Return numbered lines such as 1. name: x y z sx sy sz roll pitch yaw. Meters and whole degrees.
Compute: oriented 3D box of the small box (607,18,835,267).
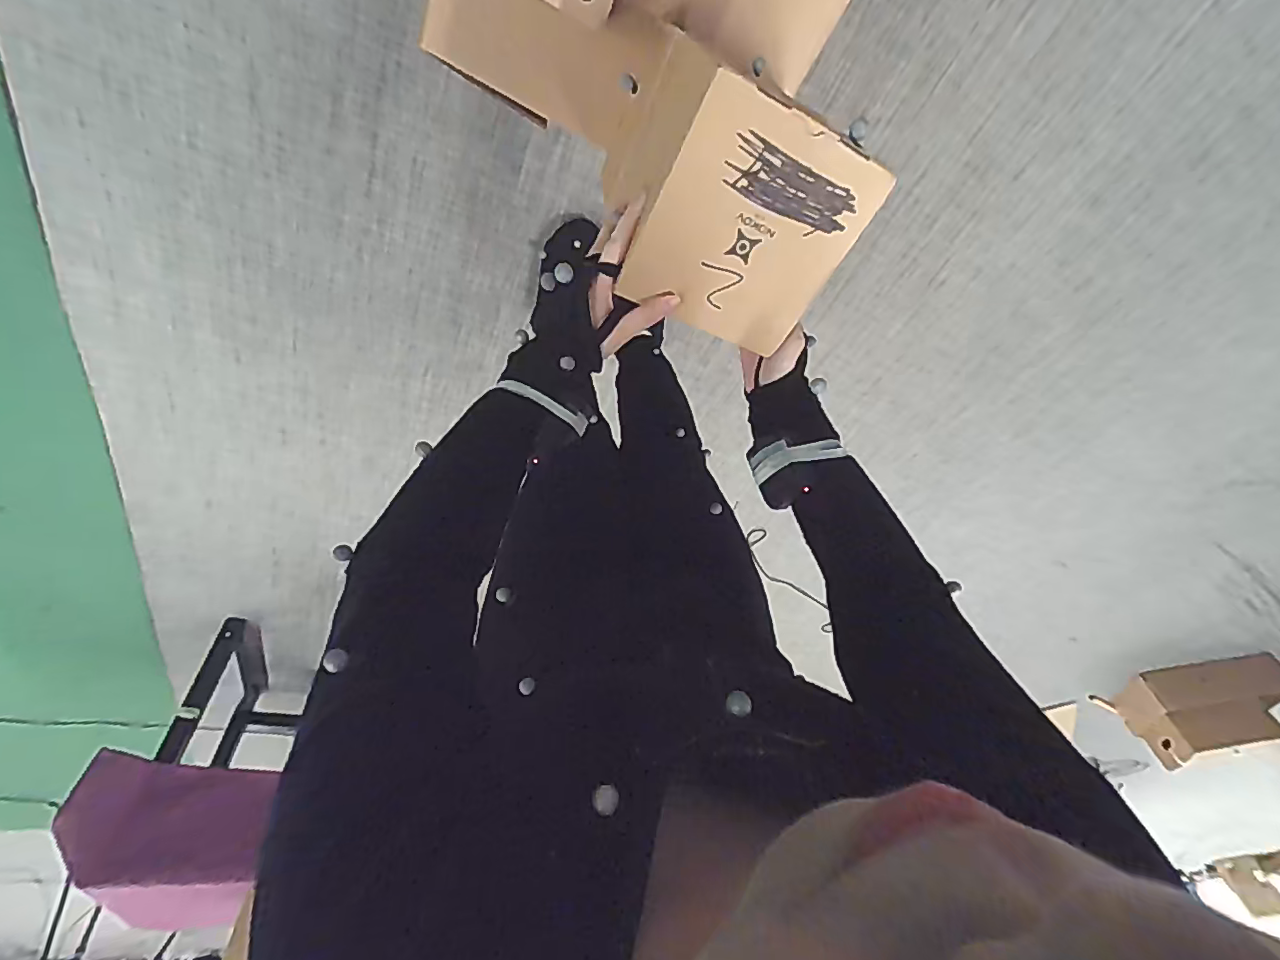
1. small box: 0.074 -0.375 0.601 0.179 0.176 0.168 15 130 -20
